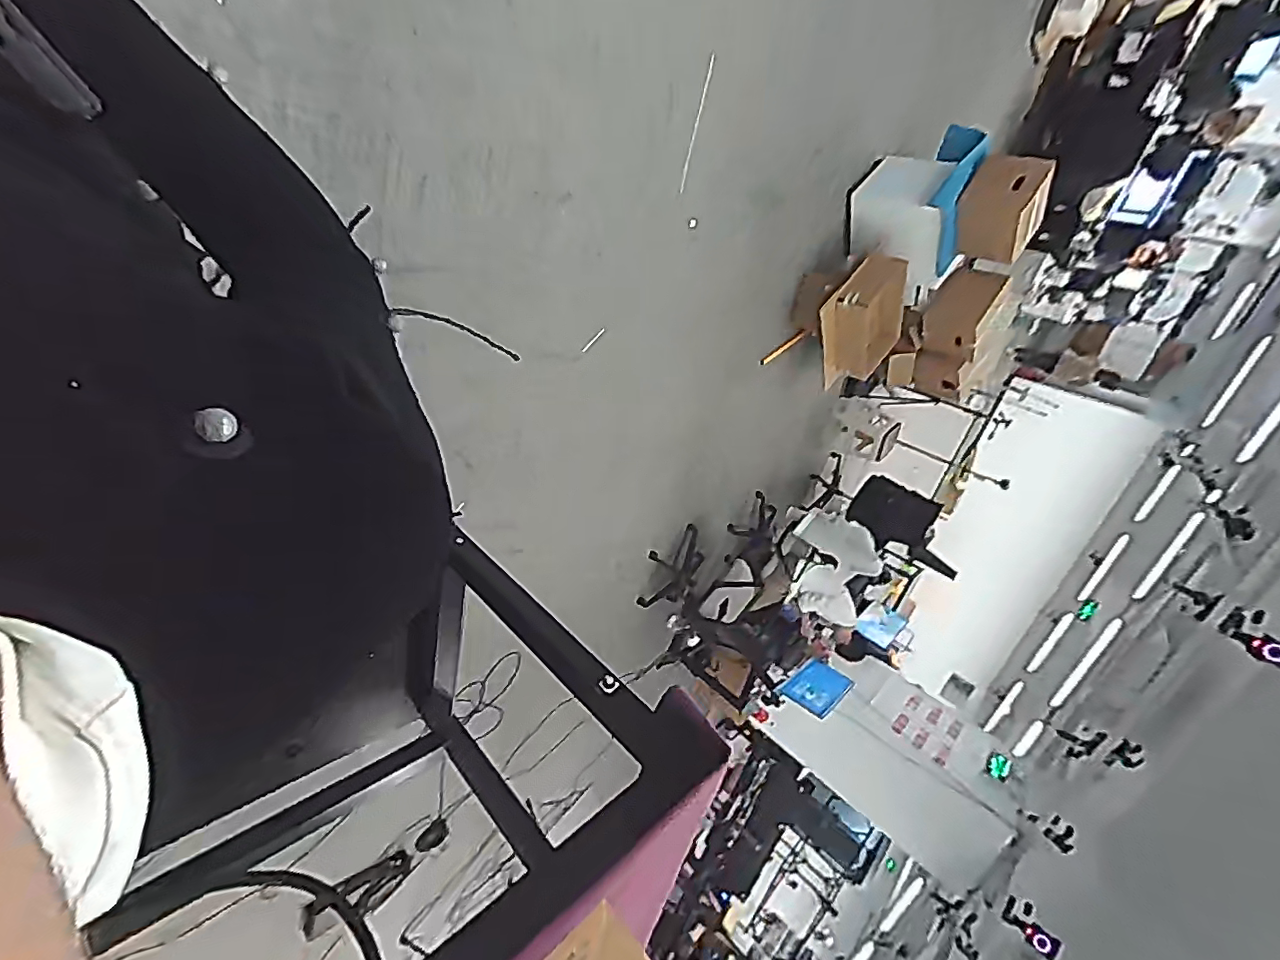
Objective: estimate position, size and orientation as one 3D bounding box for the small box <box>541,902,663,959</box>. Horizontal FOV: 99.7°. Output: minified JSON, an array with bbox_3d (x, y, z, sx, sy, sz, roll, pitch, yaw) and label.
[{"bbox_3d":[-0.051,0.596,0.560,0.168,0.176,0.179,-16,130,-46],"label":"small box"}]
